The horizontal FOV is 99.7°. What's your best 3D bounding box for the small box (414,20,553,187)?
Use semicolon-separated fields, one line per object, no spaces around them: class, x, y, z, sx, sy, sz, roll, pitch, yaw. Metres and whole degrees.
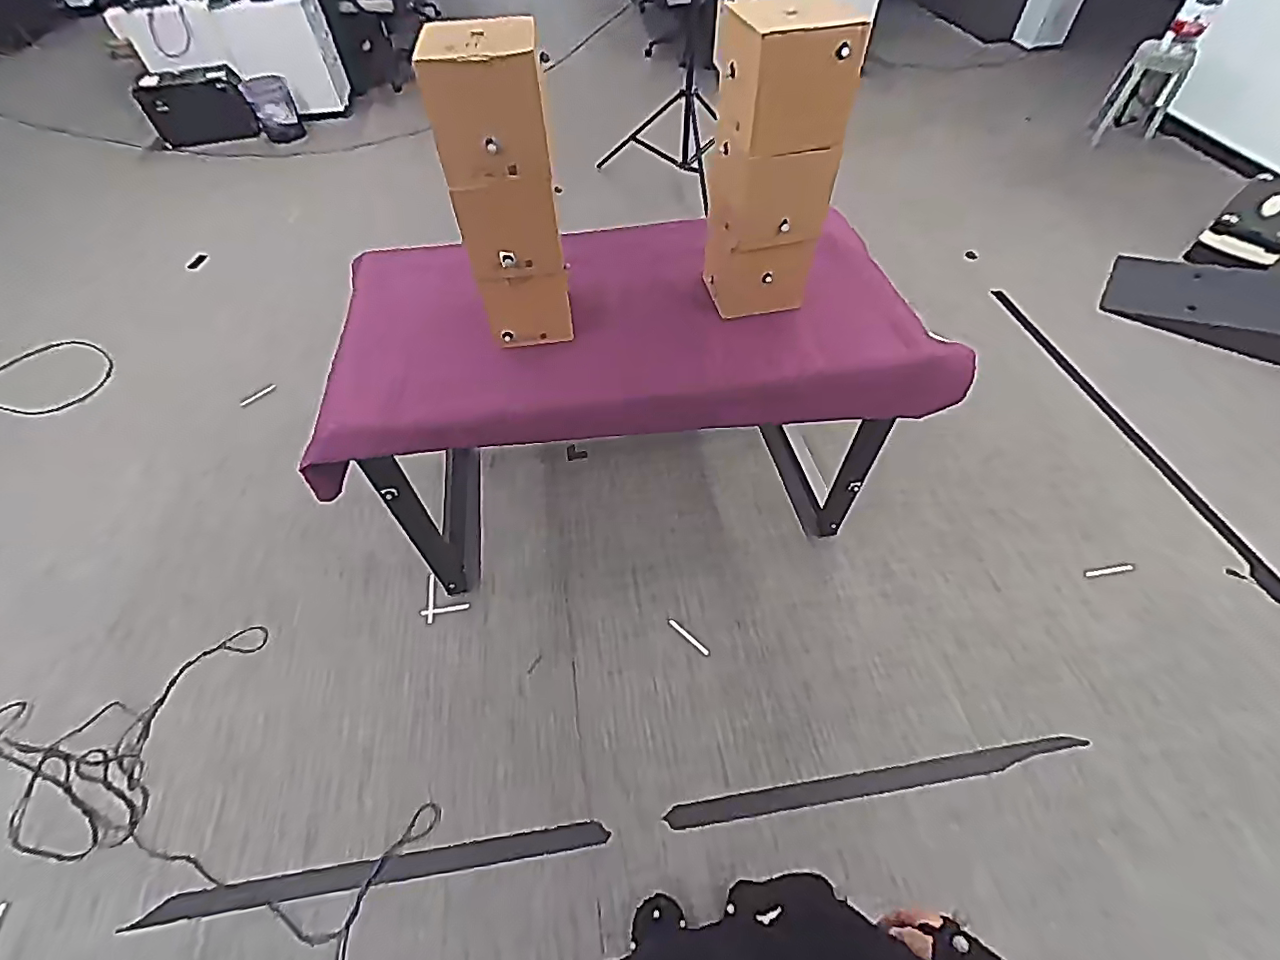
small box;-0.231;-0.584;0.842;0.168;0.176;0.179;-7;54;-3

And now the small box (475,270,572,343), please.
small box;-0.235;-0.397;1.112;0.168;0.176;0.179;-8;53;-5

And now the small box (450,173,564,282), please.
small box;-0.232;-0.484;0.974;0.168;0.176;0.179;-8;55;-4

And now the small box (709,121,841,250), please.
small box;0.243;-0.560;1.021;0.179;0.176;0.168;-12;54;-8

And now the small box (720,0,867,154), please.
small box;0.237;-0.664;0.895;0.179;0.176;0.168;-12;54;-7
